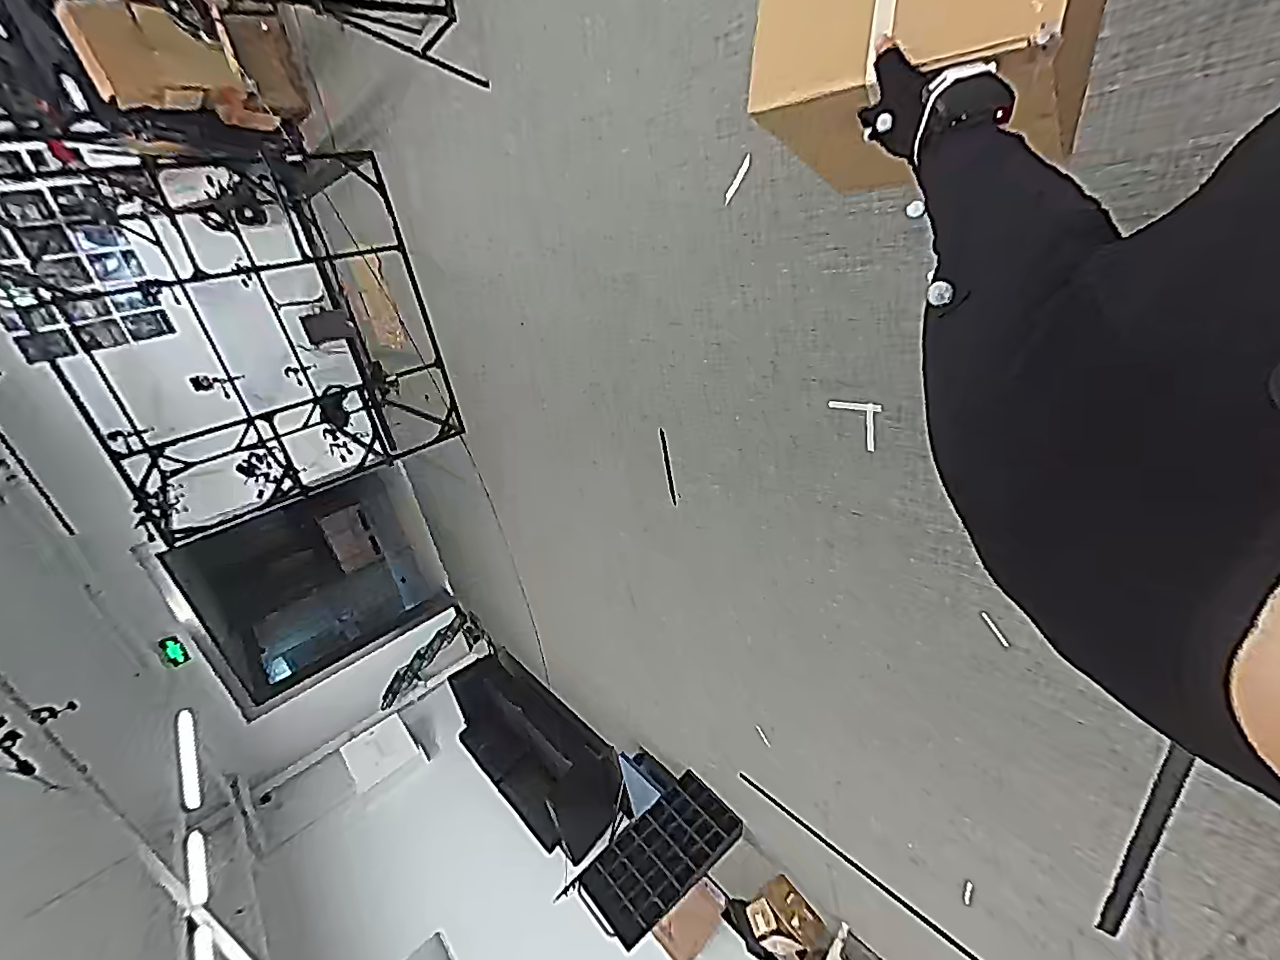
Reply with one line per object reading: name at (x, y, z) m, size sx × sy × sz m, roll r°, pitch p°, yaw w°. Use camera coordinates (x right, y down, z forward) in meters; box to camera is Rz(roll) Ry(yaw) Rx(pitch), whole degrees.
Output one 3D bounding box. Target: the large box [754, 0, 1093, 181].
large box at (0.365, -0.643, 0.659) m, size 0.320 × 0.320 × 0.408 m, roll 14°, pitch 107°, yaw 39°
